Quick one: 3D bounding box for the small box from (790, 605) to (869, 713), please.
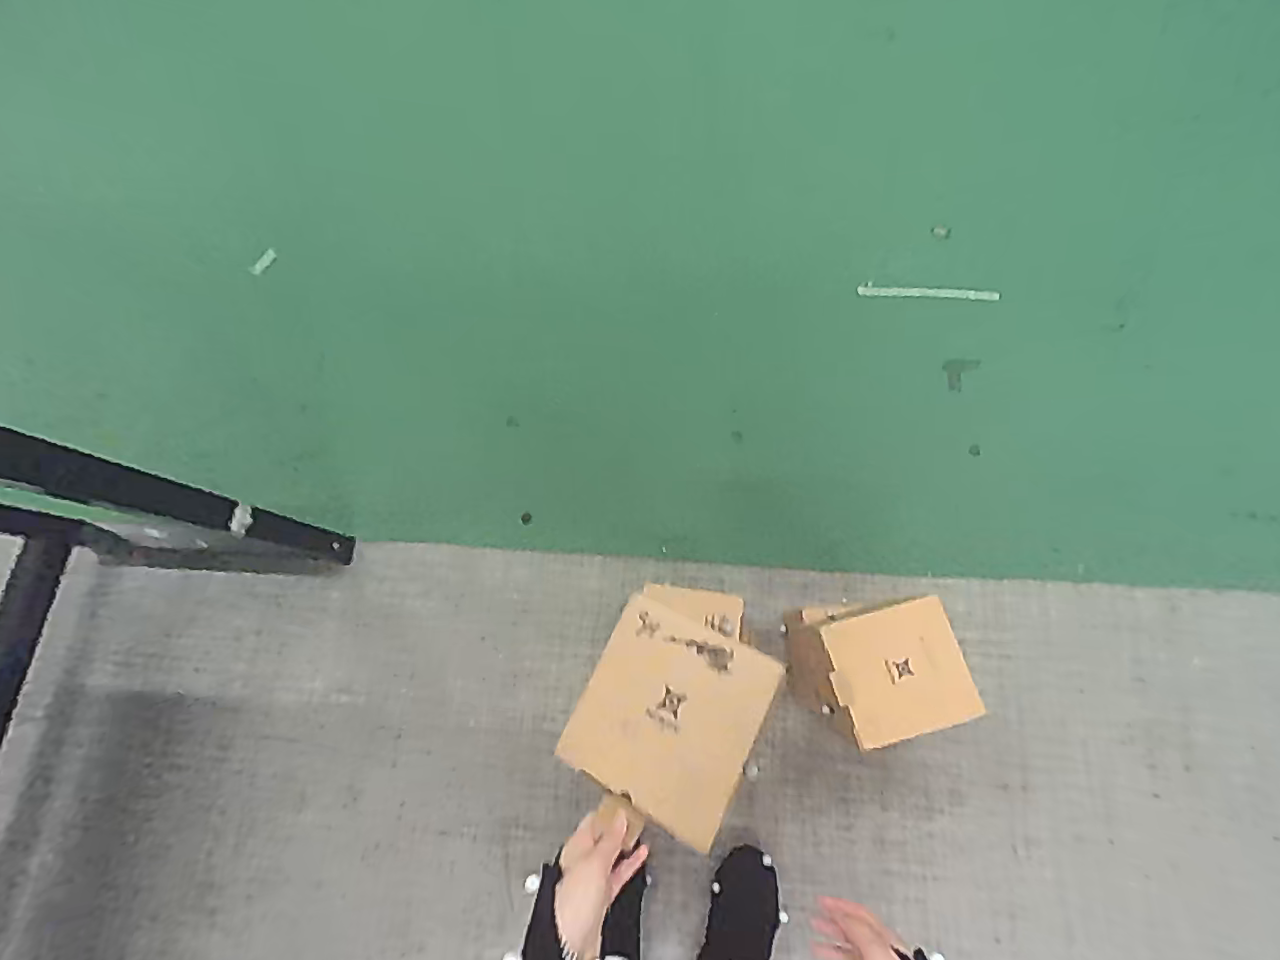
[{"bbox_3d":[0.370,0.310,0.951,0.179,0.176,0.168,-4,74,1],"label":"small box"}]

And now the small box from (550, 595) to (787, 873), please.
[{"bbox_3d":[0.044,0.245,0.557,0.168,0.176,0.179,24,76,23],"label":"small box"}]

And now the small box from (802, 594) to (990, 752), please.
[{"bbox_3d":[0.354,0.274,0.793,0.179,0.176,0.168,-16,75,-2],"label":"small box"}]
